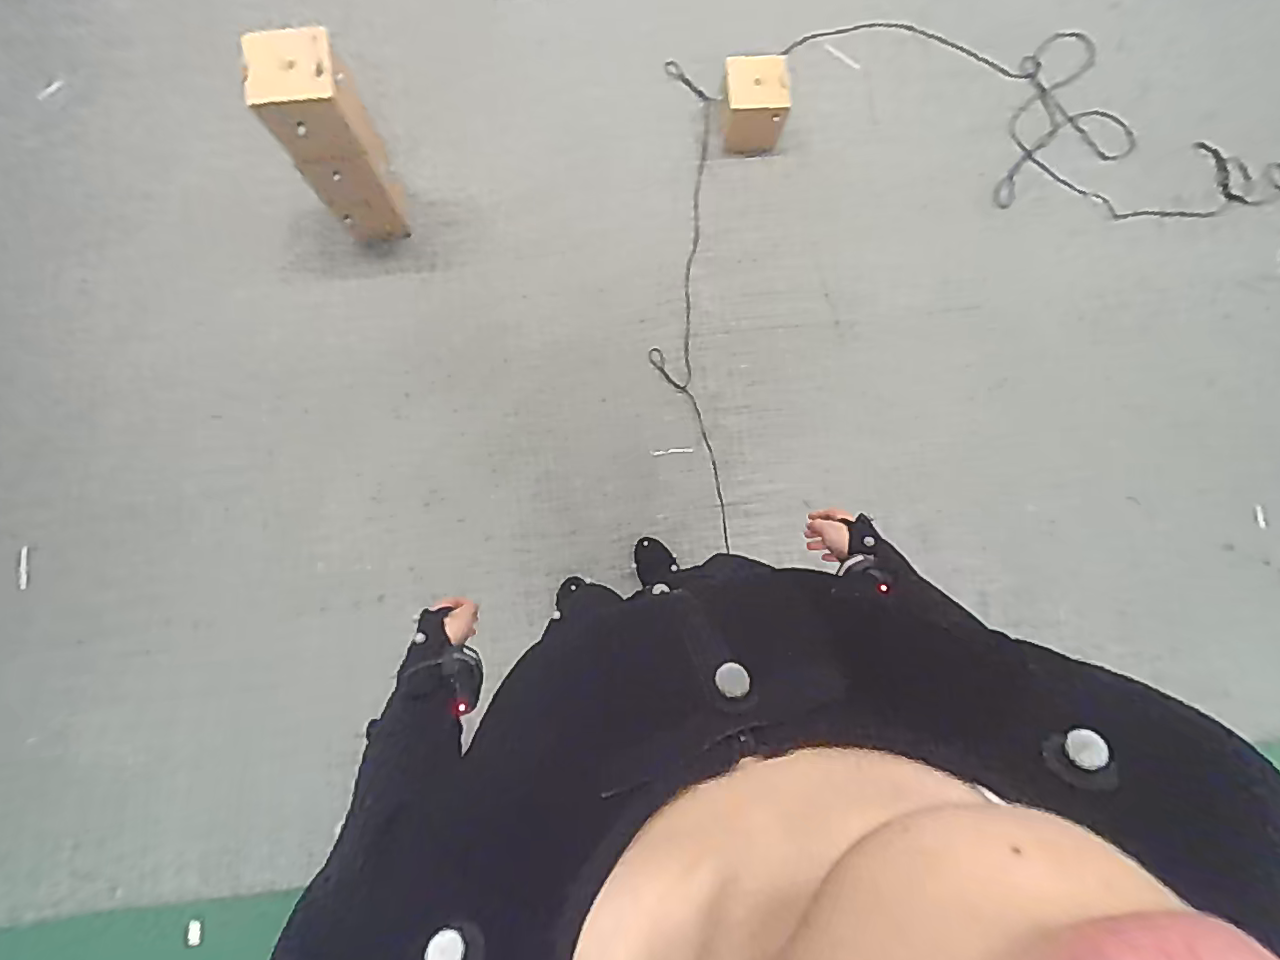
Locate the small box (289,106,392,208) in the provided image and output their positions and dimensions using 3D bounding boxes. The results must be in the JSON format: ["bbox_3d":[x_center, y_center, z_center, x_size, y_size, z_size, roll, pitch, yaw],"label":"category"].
[{"bbox_3d":[-0.748,-0.809,1.356,0.179,0.176,0.168,-8,83,-5],"label":"small box"}]

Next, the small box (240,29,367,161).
[{"bbox_3d":[-0.736,-0.839,1.195,0.179,0.176,0.168,-9,83,-3],"label":"small box"}]

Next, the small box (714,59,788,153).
[{"bbox_3d":[0.321,-1.101,1.601,0.179,0.176,0.168,-5,83,-4],"label":"small box"}]
